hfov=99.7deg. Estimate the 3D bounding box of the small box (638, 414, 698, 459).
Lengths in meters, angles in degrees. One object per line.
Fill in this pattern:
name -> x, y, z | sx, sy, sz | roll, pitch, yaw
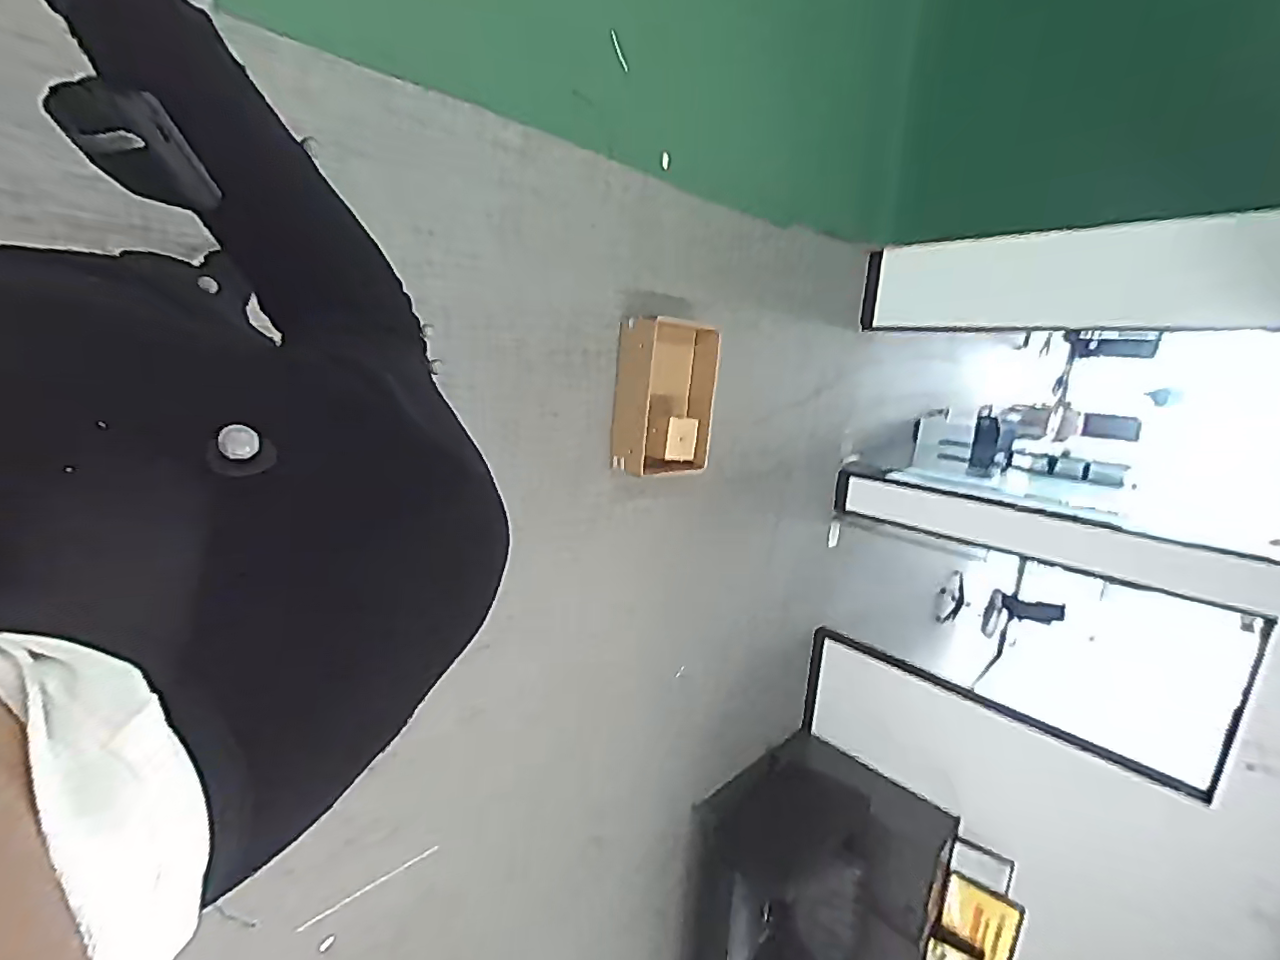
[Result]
small box -> 0.112, -0.181, 2.226 | 0.179, 0.176, 0.168 | -2, 103, -44
